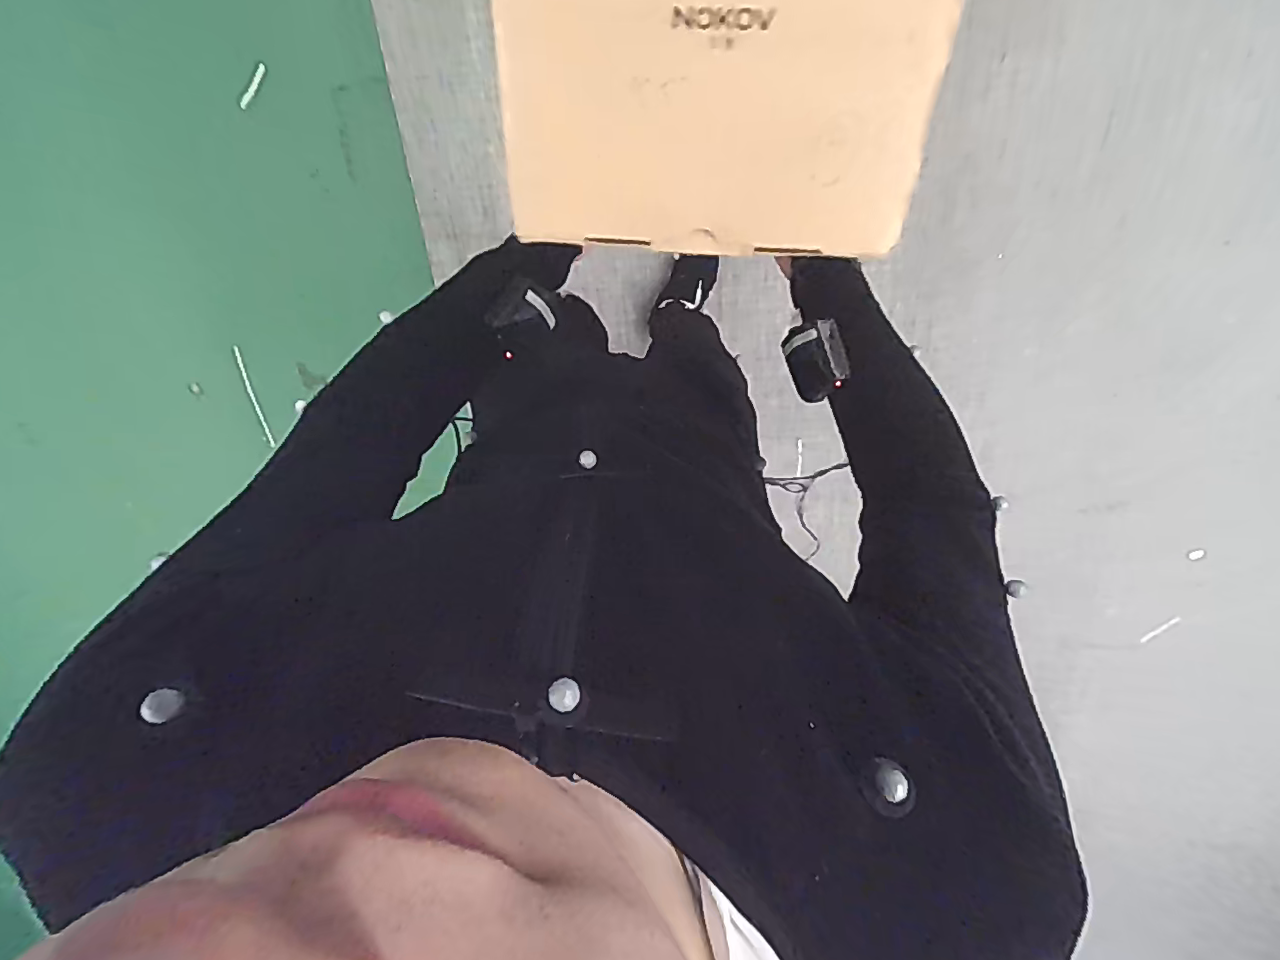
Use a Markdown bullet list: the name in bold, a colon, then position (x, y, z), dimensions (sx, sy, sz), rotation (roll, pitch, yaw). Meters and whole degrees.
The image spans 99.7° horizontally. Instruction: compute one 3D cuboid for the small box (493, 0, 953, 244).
- **small box**: position (0.034, -0.223, 0.252), dimensions (0.168, 0.176, 0.179), rotation (3, 124, 3)
